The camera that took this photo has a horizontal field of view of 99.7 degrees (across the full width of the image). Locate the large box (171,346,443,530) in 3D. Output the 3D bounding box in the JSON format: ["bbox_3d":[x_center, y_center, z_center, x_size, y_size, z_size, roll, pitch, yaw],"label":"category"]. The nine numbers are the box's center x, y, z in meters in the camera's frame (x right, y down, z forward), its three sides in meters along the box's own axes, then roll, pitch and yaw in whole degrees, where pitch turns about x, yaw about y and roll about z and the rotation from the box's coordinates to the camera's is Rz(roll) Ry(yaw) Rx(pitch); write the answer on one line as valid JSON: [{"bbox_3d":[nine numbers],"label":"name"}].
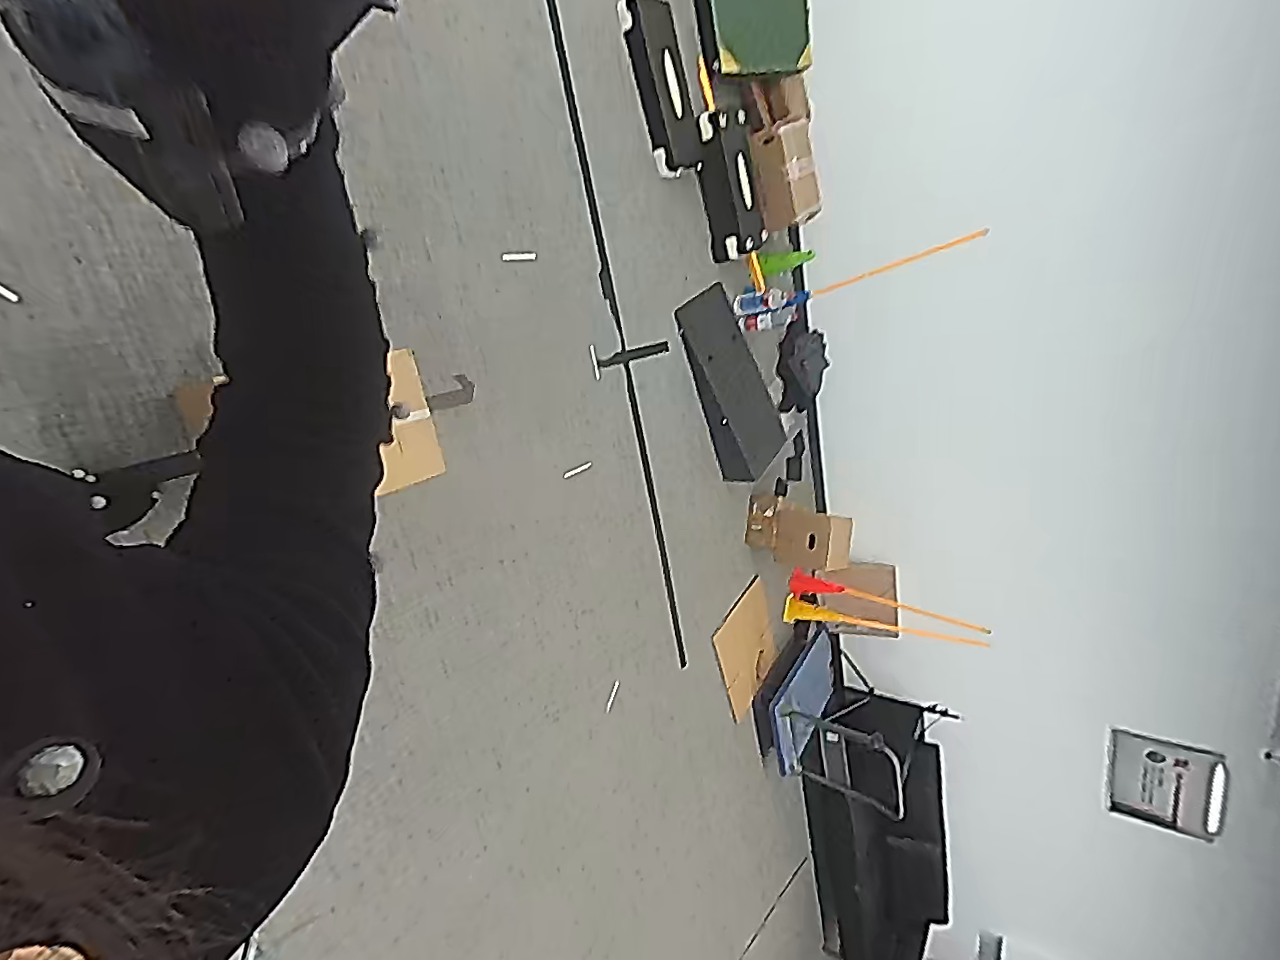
[{"bbox_3d":[-0.752,-0.110,1.257,0.408,0.320,0.320,-29,115,-48],"label":"large box"}]
